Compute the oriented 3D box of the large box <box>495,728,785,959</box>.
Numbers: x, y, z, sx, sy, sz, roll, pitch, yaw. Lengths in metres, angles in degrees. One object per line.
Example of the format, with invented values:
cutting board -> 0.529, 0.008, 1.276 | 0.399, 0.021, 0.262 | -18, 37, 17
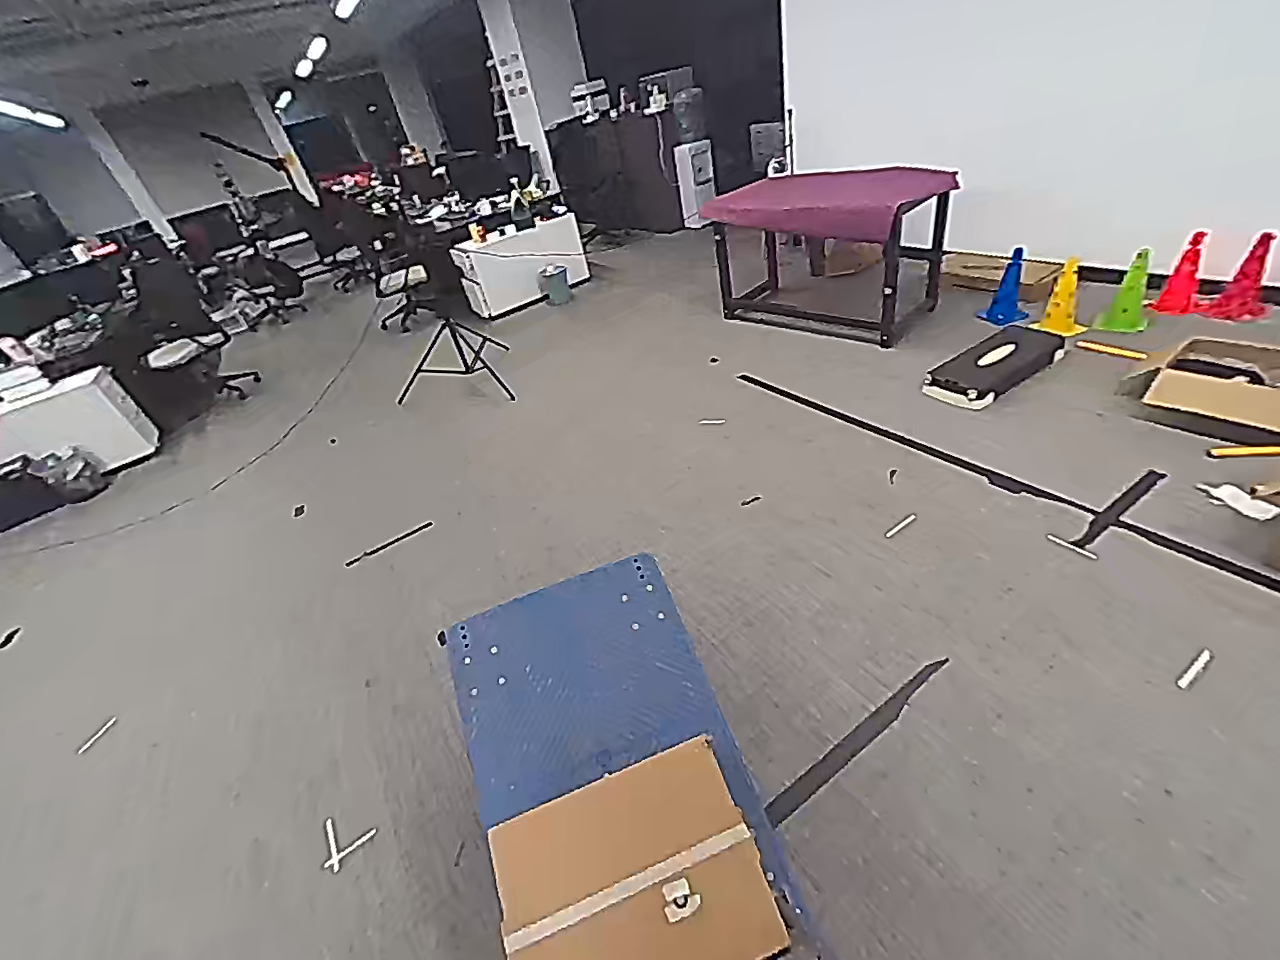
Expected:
large box -> -0.004, 0.720, 1.008 | 0.408, 0.320, 0.320 | -21, 61, -9
